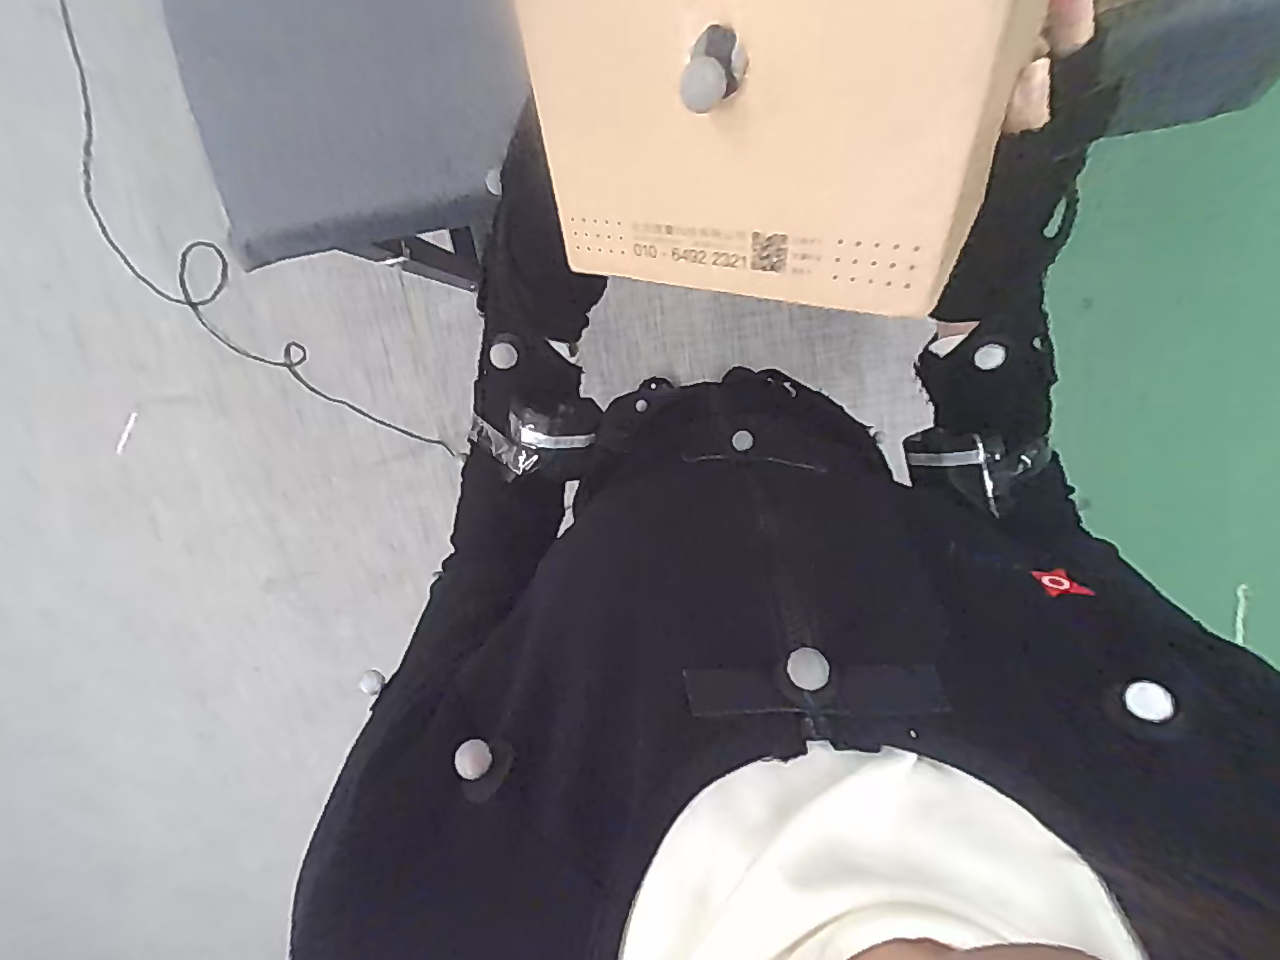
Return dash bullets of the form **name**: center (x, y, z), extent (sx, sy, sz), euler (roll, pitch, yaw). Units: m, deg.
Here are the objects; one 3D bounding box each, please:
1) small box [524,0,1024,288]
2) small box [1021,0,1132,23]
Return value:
- **small box**: center (0.066, -0.201, 0.232), extent (0.168, 0.179, 0.176), euler (18, 139, 25)
- **small box**: center (0.453, -0.549, 0.469), extent (0.168, 0.176, 0.179), euler (-13, 100, 6)
